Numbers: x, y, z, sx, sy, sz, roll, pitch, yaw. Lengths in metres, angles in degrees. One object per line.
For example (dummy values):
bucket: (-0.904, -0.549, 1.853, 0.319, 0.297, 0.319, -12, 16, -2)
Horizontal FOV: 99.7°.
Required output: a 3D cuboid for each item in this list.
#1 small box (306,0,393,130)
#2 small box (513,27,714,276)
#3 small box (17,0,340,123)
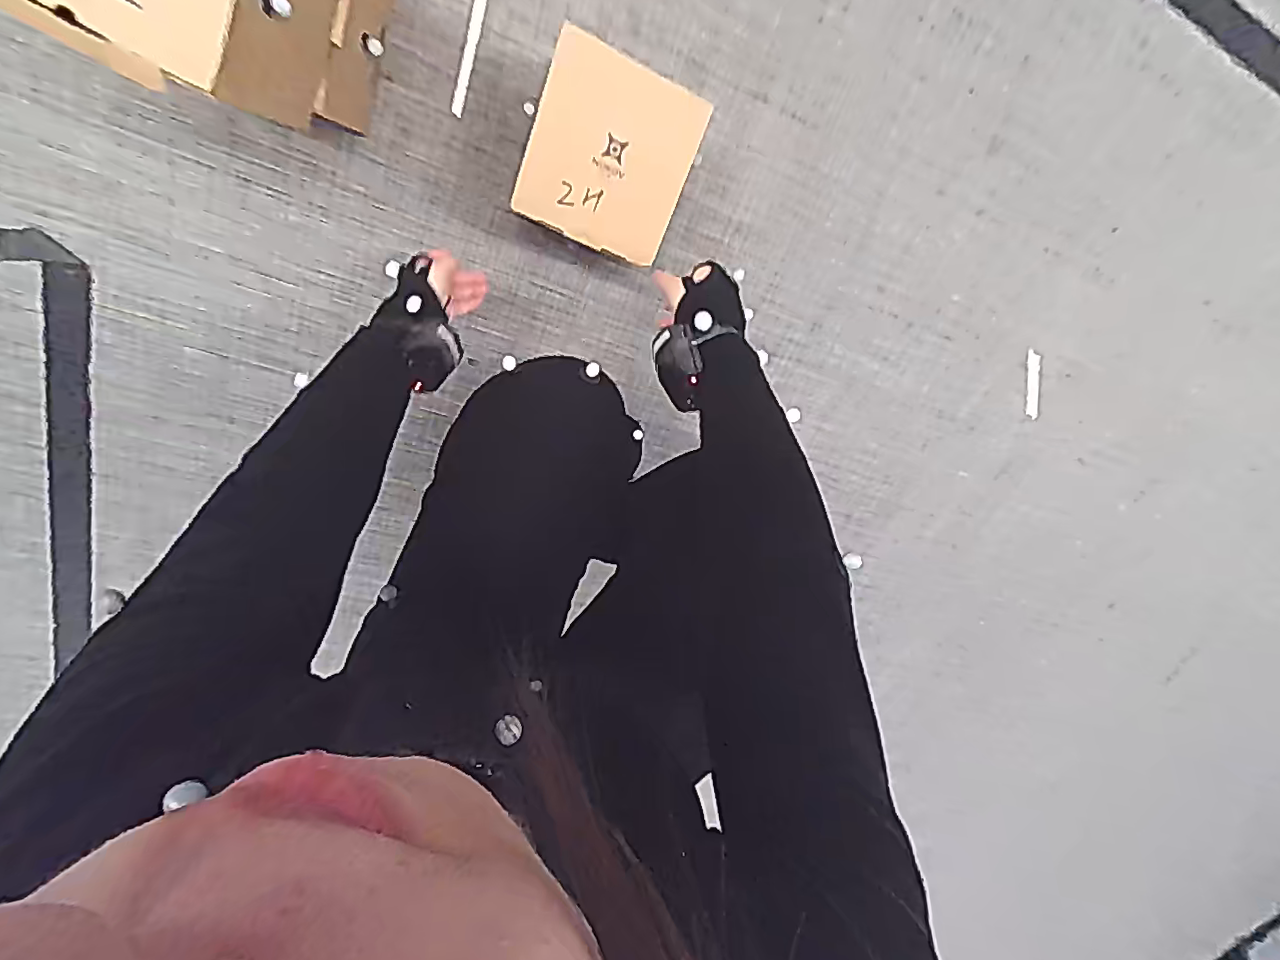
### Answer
small box: (-0.357, -0.466, 0.520, 0.179, 0.176, 0.168, 18, 111, -20)
small box: (-0.042, -0.364, 0.631, 0.168, 0.176, 0.179, 18, 112, -18)
small box: (-0.327, -0.388, 0.377, 0.168, 0.176, 0.179, 22, 109, -21)
